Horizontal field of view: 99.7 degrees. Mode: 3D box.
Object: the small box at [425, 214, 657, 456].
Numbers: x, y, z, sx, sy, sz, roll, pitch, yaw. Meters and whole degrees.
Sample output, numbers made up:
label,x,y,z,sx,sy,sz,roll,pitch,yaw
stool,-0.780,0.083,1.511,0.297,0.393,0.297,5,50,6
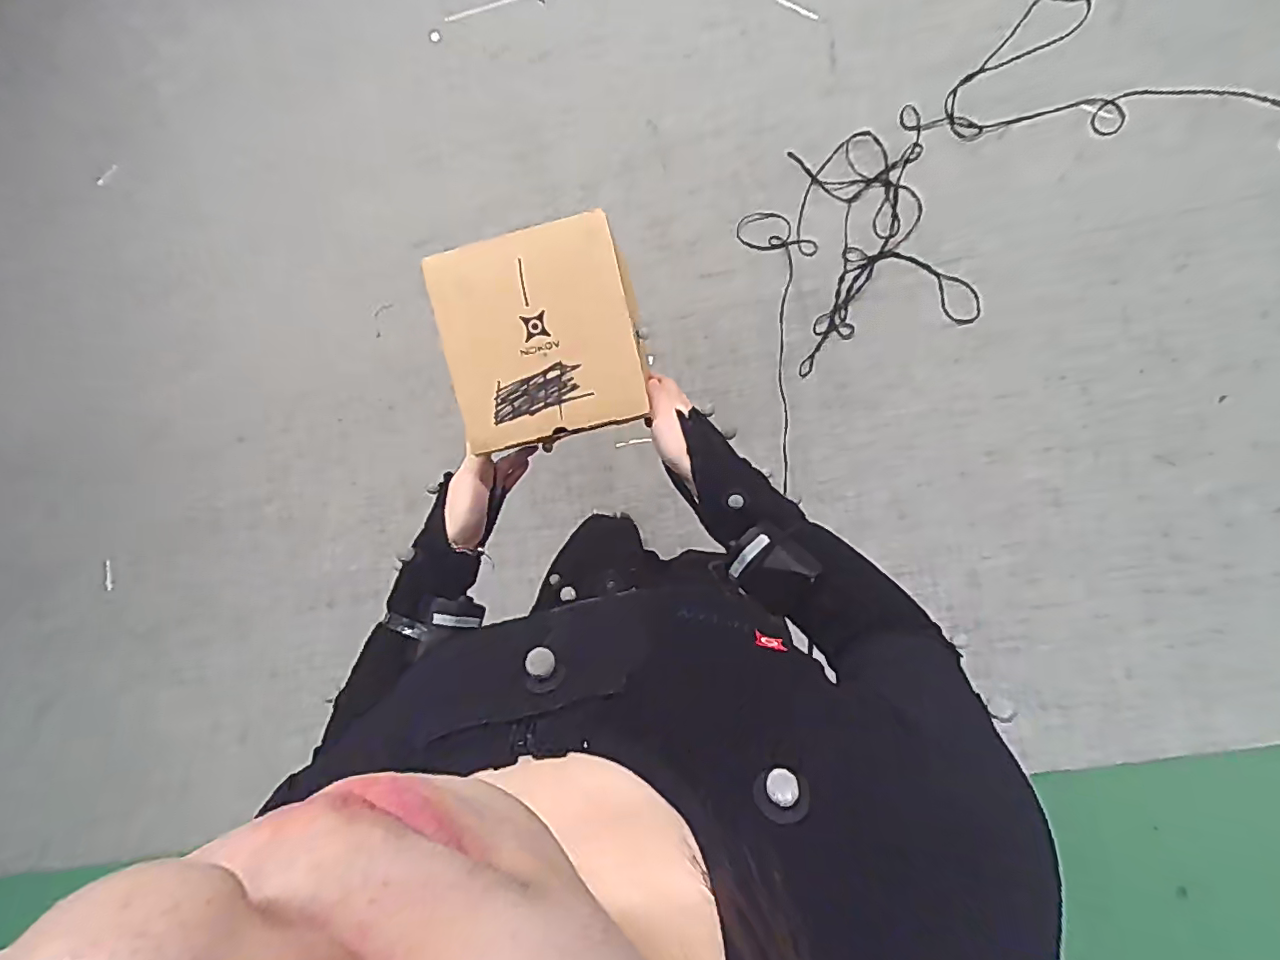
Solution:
label,x,y,z,sx,sy,sz,roll,pitch,yaw
small box,-0.080,-0.131,0.540,0.168,0.176,0.179,-12,96,6
